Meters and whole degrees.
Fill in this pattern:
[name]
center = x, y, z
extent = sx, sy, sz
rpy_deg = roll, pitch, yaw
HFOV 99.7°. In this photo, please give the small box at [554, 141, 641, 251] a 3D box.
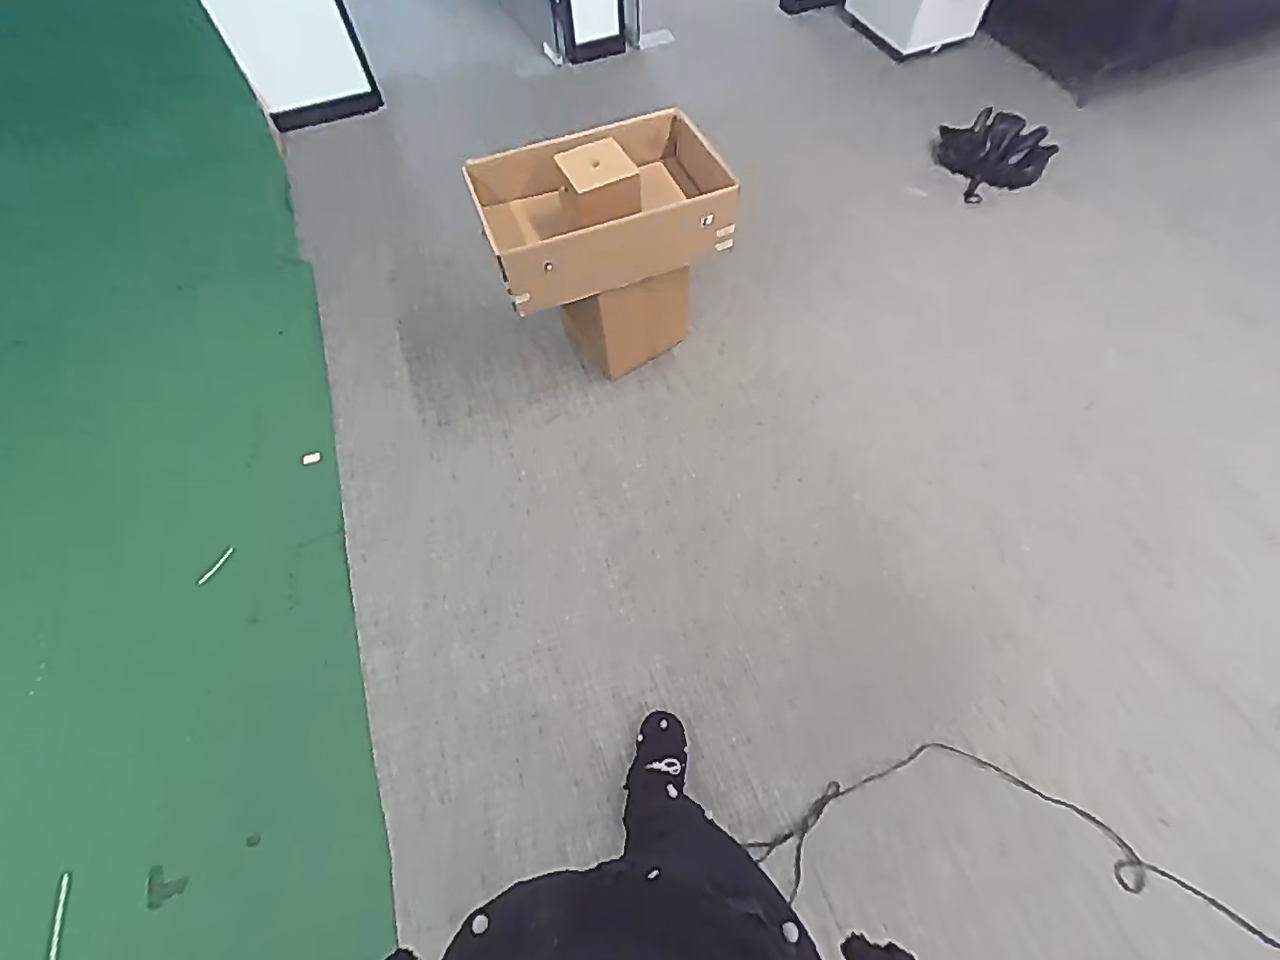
[small box]
center = -0.106, -0.732, 1.402
extent = 0.168, 0.176, 0.179
rpy_deg = -24, 63, -10
